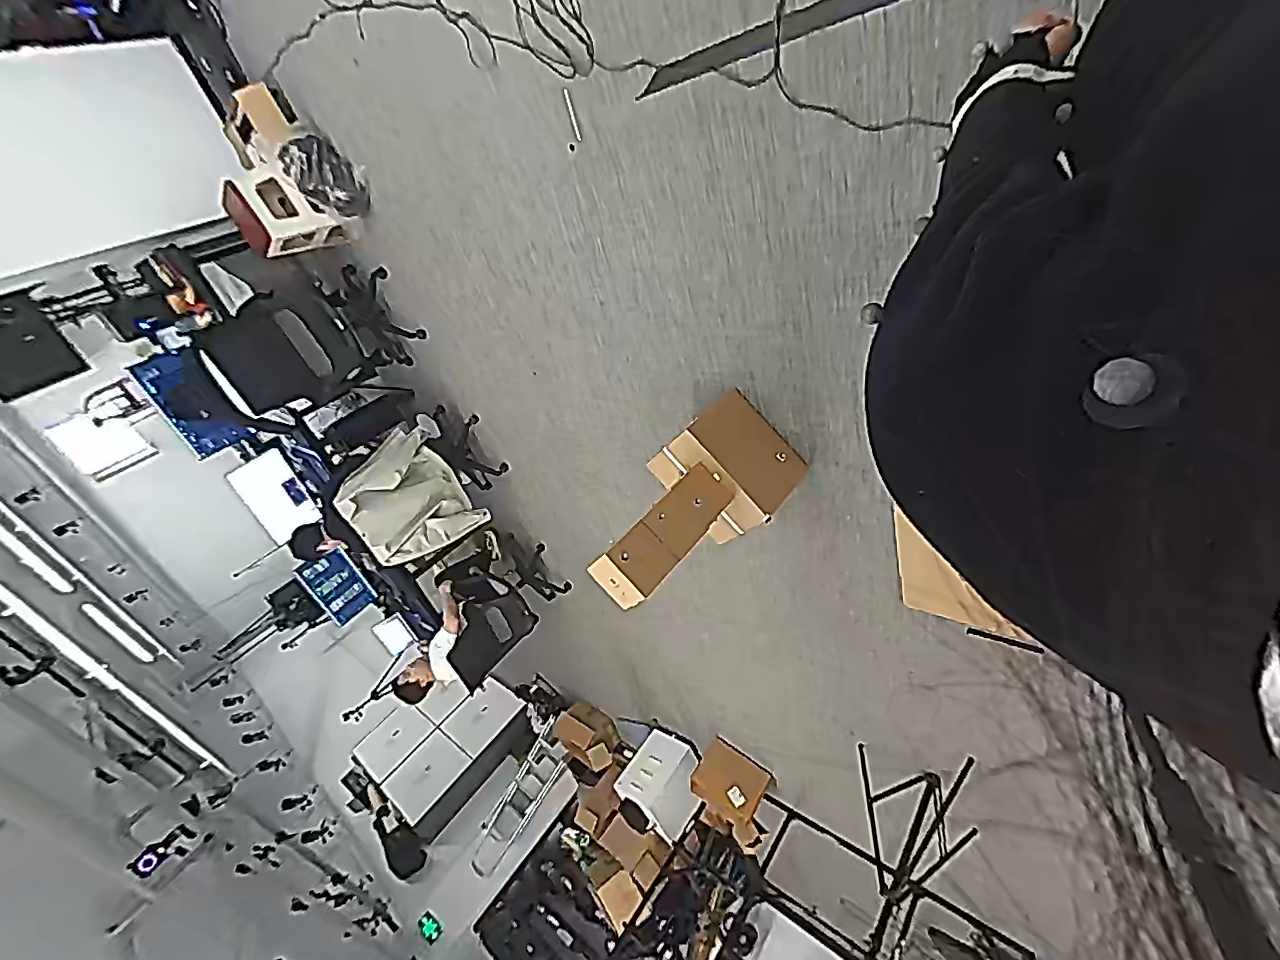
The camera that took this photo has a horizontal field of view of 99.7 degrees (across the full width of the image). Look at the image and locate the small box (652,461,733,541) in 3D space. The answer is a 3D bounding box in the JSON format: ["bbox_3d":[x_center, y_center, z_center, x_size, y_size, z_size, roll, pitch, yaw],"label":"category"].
[{"bbox_3d":[0.180,0.070,1.821,0.179,0.176,0.168,47,145,3],"label":"small box"}]

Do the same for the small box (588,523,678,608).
[{"bbox_3d":[-0.021,0.252,1.634,0.179,0.176,0.168,47,146,2],"label":"small box"}]
